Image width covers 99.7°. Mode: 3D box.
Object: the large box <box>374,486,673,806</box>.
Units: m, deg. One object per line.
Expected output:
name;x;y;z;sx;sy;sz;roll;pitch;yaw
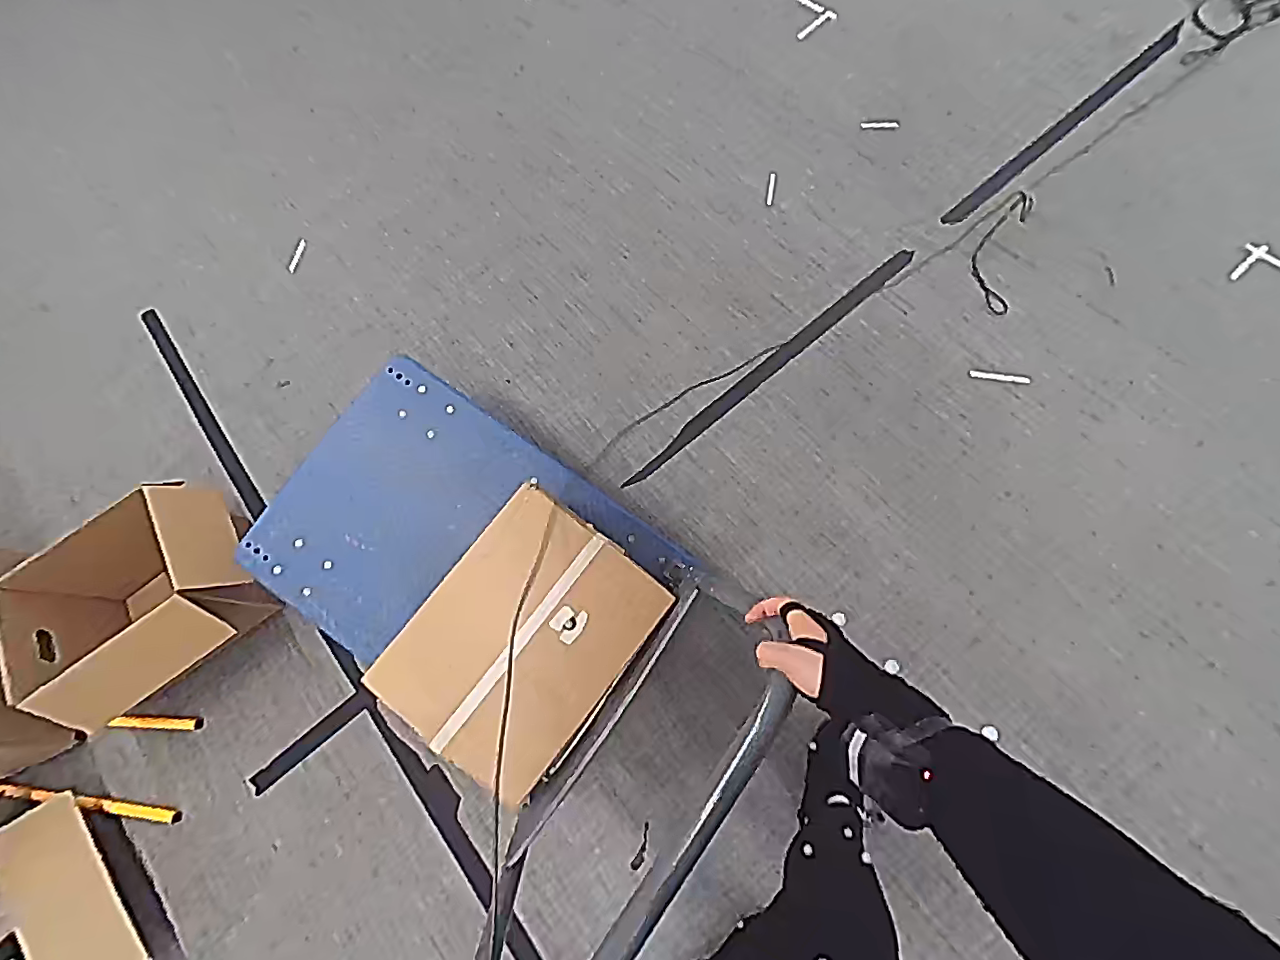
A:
large box;-0.186;0.279;1.007;0.320;0.320;0.408;37;82;4
